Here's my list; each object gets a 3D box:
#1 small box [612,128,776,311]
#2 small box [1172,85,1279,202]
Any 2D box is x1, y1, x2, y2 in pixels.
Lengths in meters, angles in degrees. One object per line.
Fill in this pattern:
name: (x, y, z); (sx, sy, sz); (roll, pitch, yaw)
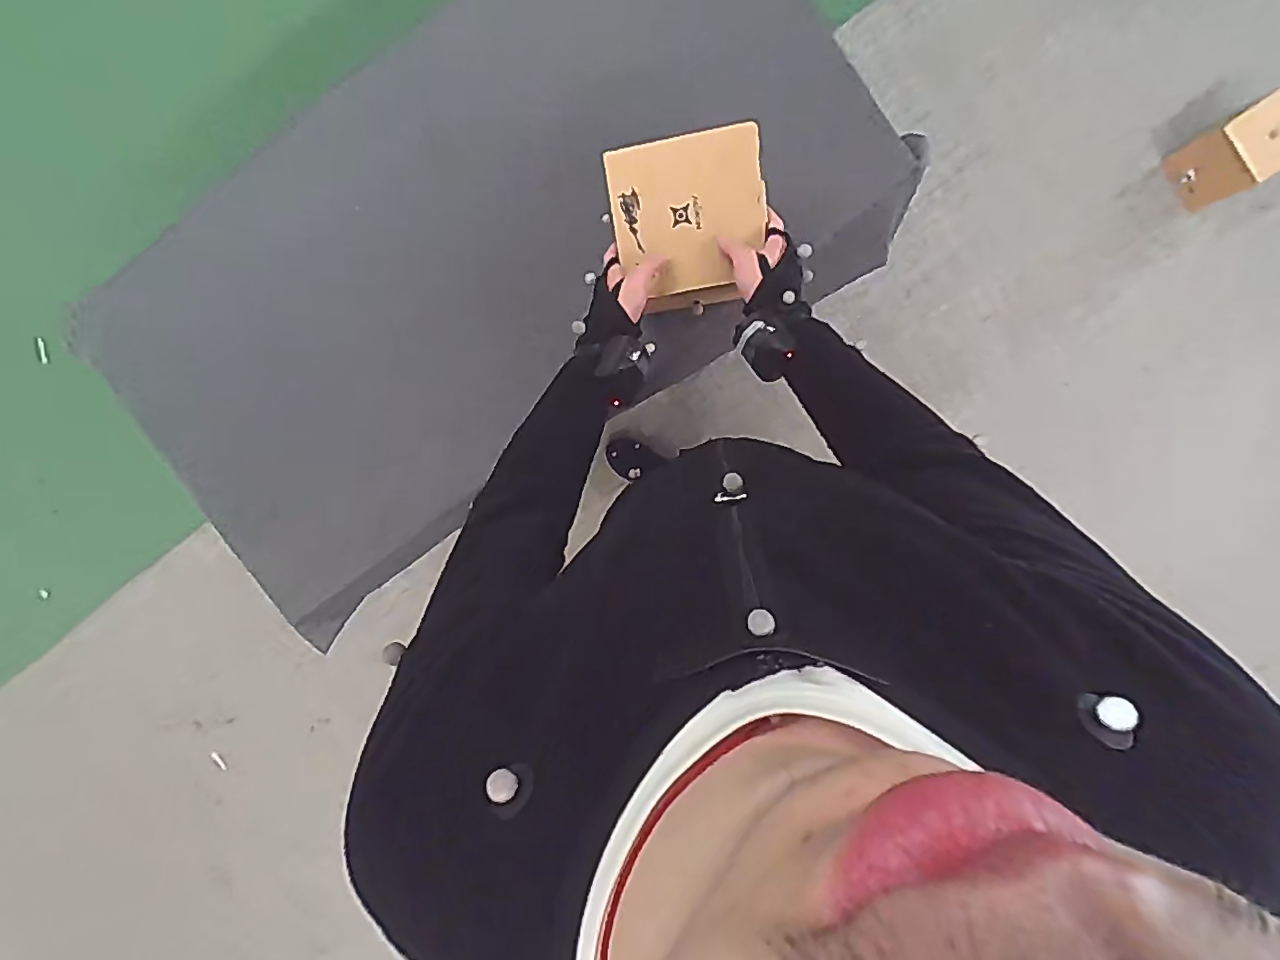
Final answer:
small box: (0.067, -0.319, 0.697); (0.179, 0.176, 0.168); (-7, 101, 6)
small box: (1.501, -0.834, 1.336); (0.179, 0.176, 0.168); (-33, 91, 5)
